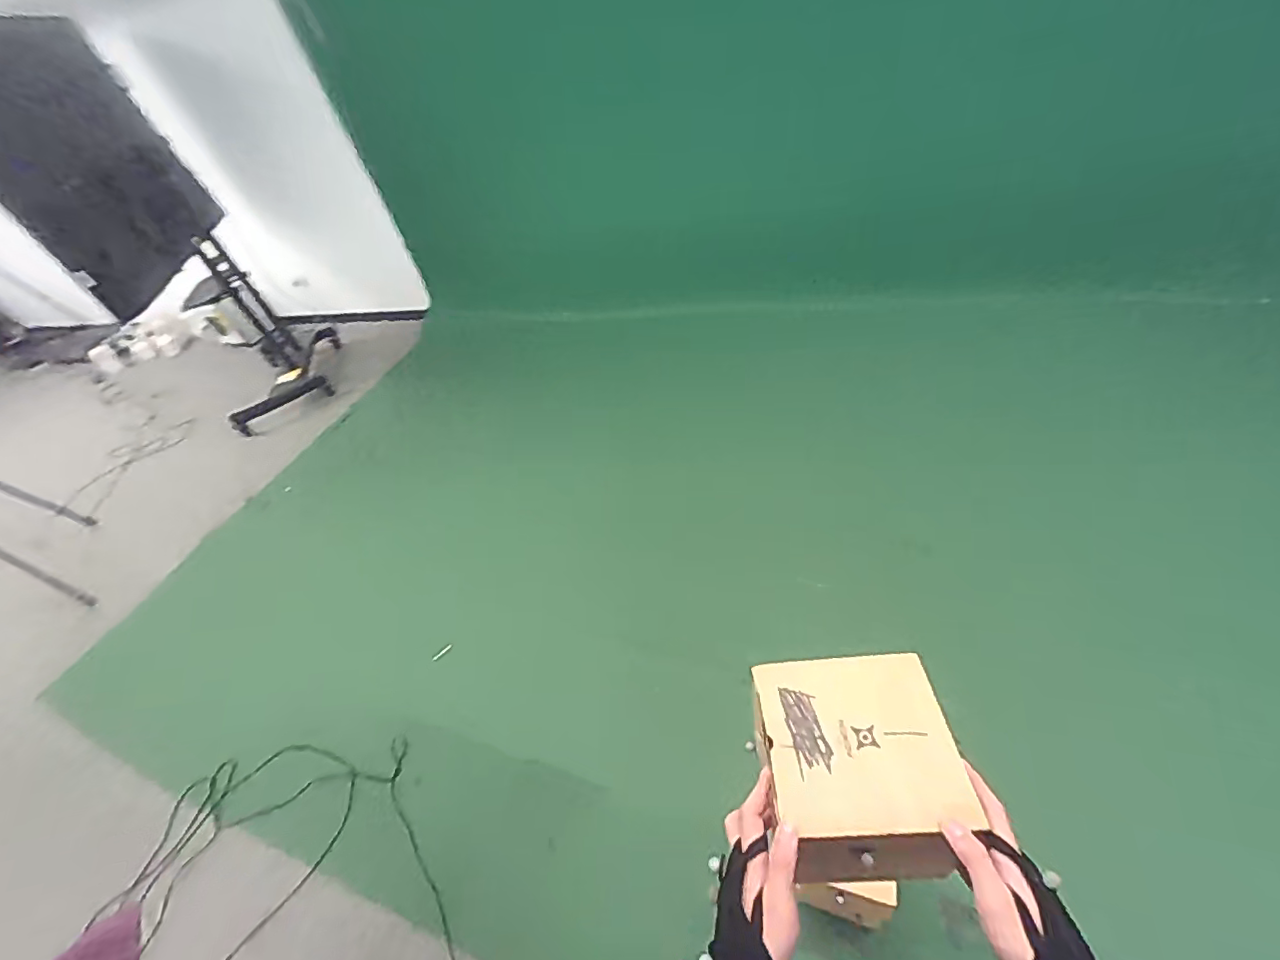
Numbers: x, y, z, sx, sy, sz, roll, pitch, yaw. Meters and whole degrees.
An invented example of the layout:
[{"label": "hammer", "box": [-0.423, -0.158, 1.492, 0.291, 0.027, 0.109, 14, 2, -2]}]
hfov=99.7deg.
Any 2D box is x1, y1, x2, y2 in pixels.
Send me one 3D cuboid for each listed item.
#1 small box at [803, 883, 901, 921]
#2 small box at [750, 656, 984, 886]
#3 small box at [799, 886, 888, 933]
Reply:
[{"label": "small box", "box": [0.436, 0.778, 1.116, 0.179, 0.176, 0.168, 3, 47, 23]}, {"label": "small box", "box": [0.216, 0.308, 0.570, 0.179, 0.176, 0.168, -6, 41, 5]}, {"label": "small box", "box": [0.466, 0.892, 1.227, 0.179, 0.176, 0.168, 6, 48, 24]}]
